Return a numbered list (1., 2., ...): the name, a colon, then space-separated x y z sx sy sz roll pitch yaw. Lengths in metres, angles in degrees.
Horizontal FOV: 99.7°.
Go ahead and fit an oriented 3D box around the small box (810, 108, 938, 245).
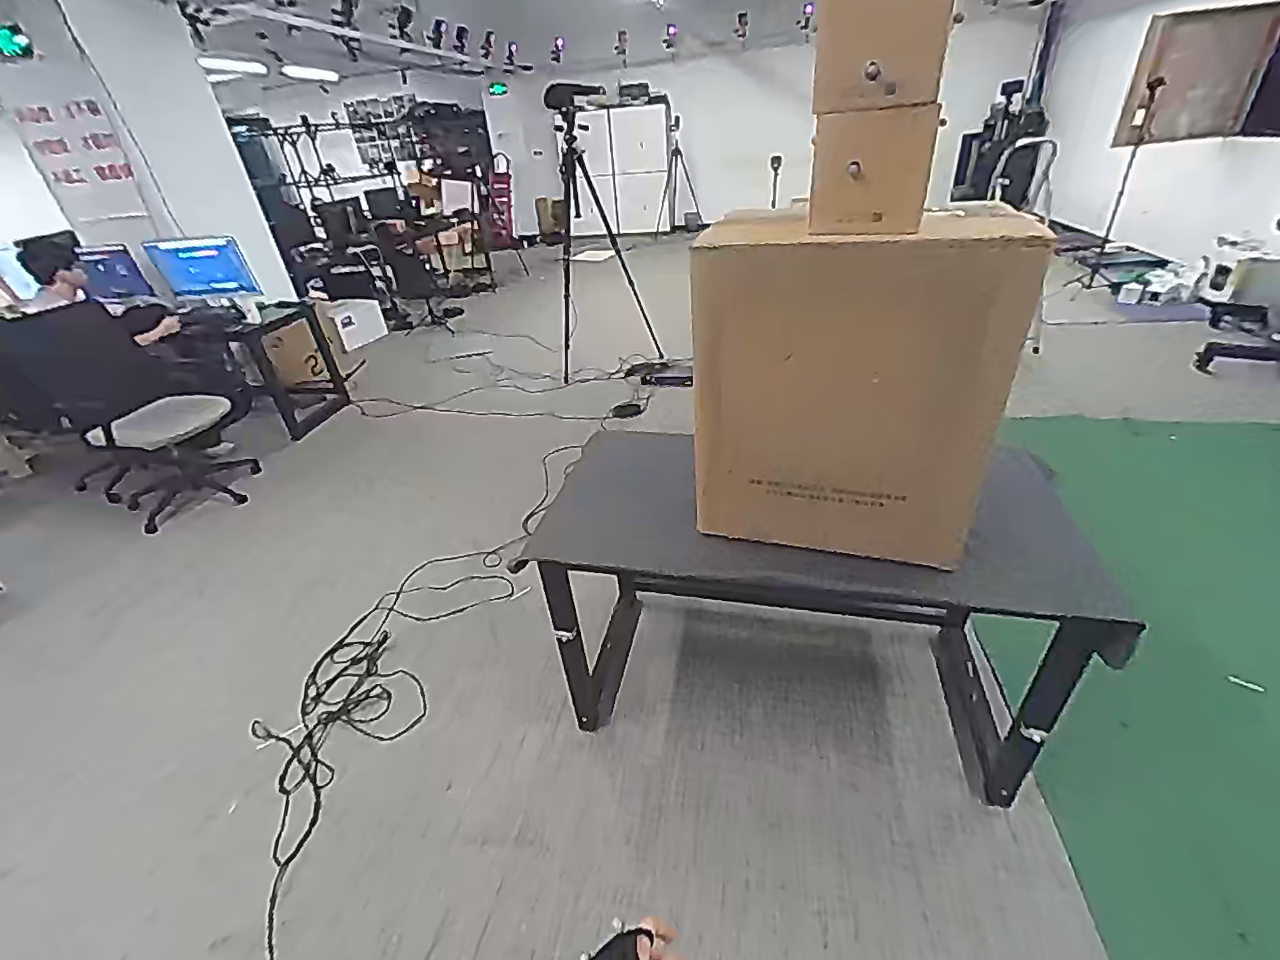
1. small box: 0.371 -0.481 0.866 0.168 0.176 0.179 9 37 22
